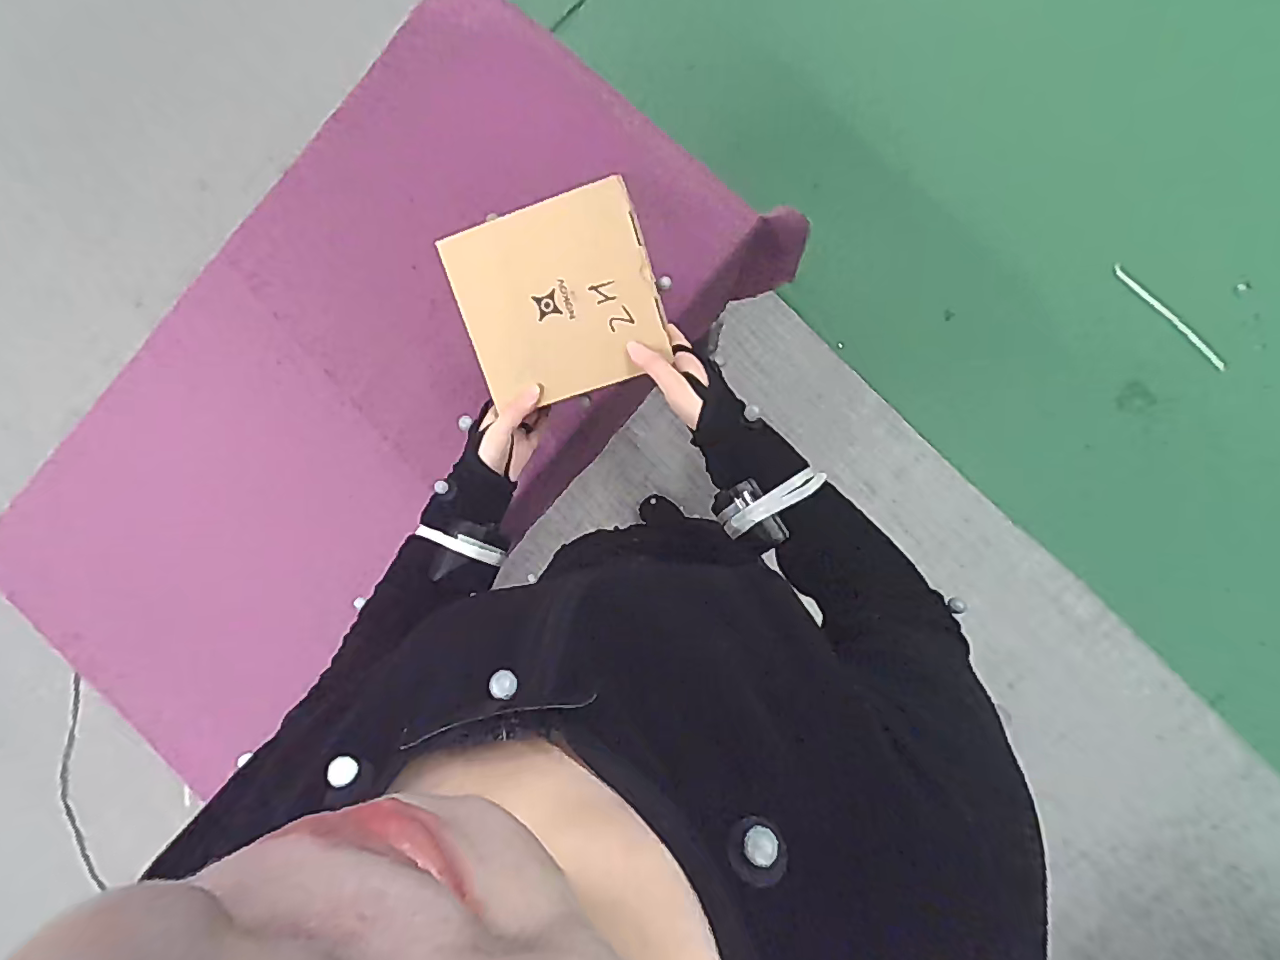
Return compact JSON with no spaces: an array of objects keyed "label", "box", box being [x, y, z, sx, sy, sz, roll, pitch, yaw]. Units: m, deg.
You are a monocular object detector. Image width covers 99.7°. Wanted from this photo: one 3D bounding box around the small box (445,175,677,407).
[{"label":"small box","box":[-0.064,-0.181,0.562,0.179,0.176,0.168,-14,103,8]}]
